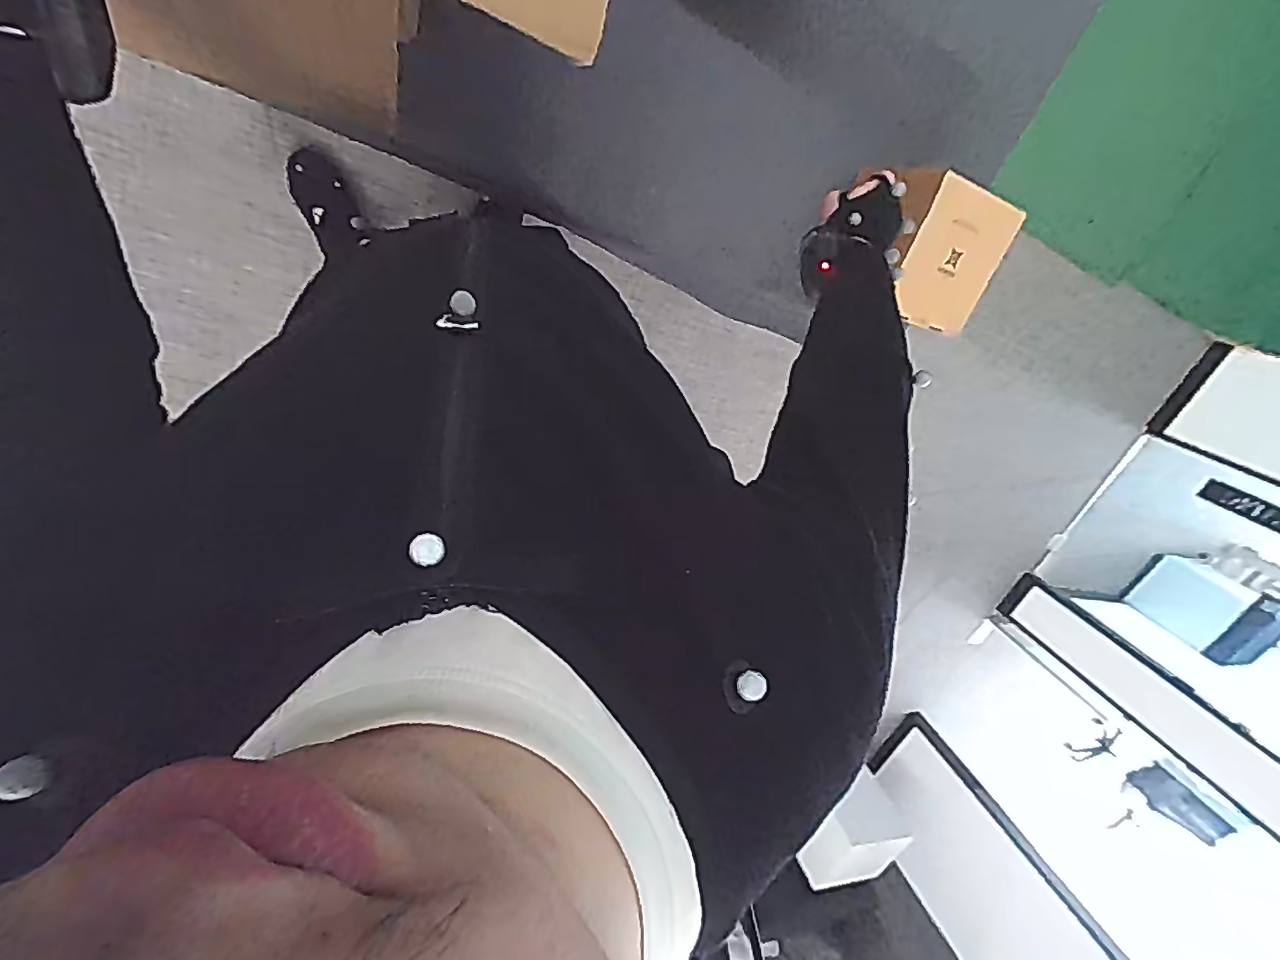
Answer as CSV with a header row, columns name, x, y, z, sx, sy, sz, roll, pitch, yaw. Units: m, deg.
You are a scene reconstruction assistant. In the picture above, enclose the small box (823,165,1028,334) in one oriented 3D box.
name,x,y,z,sx,sy,sz,roll,pitch,yaw
small box,0.401,-0.340,0.795,0.168,0.176,0.179,8,116,-26
